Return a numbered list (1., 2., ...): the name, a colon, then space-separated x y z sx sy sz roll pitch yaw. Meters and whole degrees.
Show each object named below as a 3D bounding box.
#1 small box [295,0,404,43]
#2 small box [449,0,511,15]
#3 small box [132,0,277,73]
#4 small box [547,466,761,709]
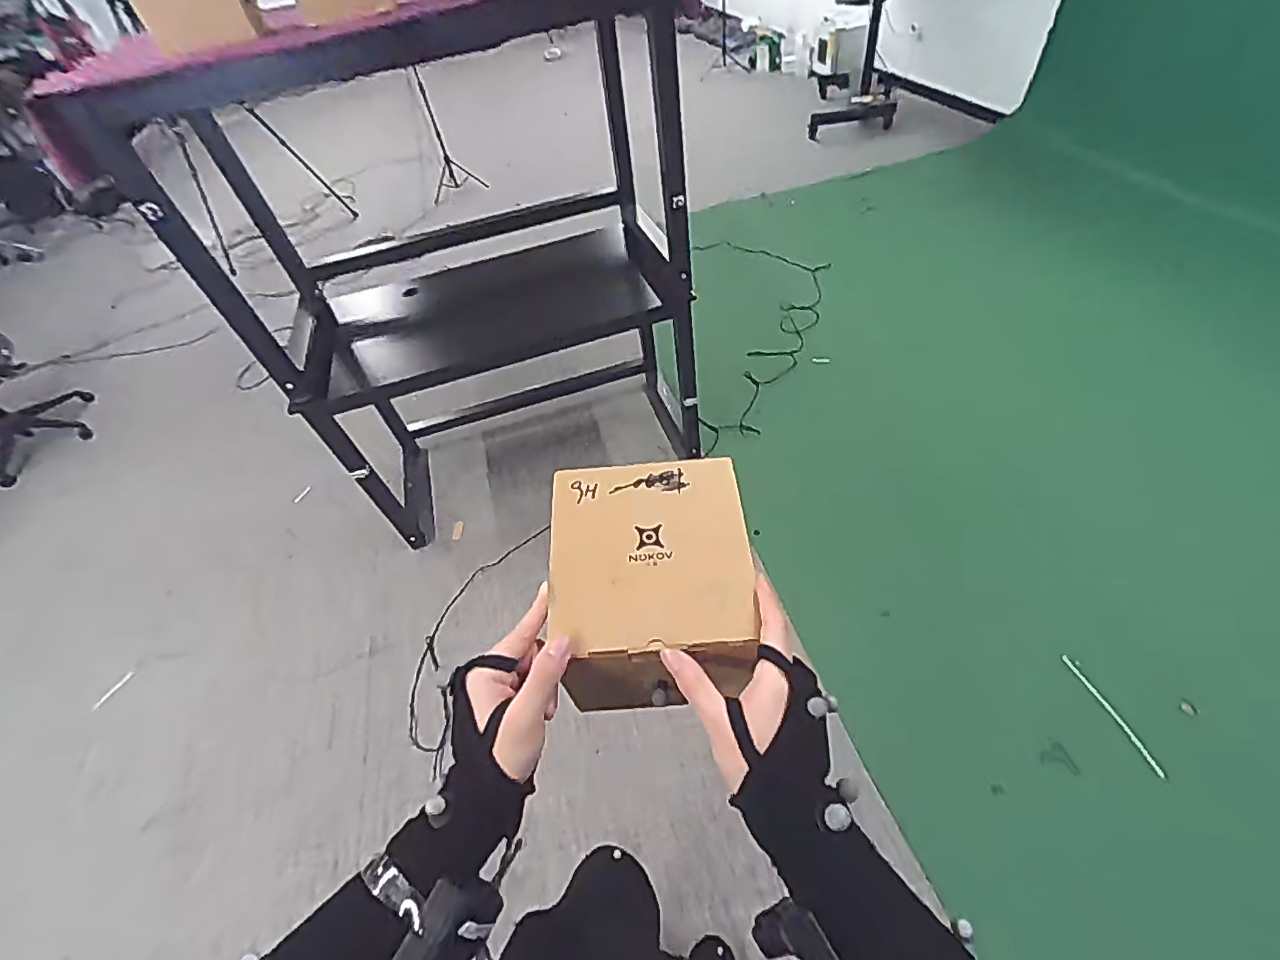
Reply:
1. small box: -0.589 -0.984 1.059 0.179 0.176 0.168 -17 48 -5
2. small box: -0.326 -1.071 1.087 0.179 0.176 0.168 -18 48 -4
3. small box: -0.846 -0.911 1.039 0.179 0.176 0.168 -19 49 -7
4. small box: 0.012 0.110 0.515 0.168 0.176 0.179 -5 54 1
